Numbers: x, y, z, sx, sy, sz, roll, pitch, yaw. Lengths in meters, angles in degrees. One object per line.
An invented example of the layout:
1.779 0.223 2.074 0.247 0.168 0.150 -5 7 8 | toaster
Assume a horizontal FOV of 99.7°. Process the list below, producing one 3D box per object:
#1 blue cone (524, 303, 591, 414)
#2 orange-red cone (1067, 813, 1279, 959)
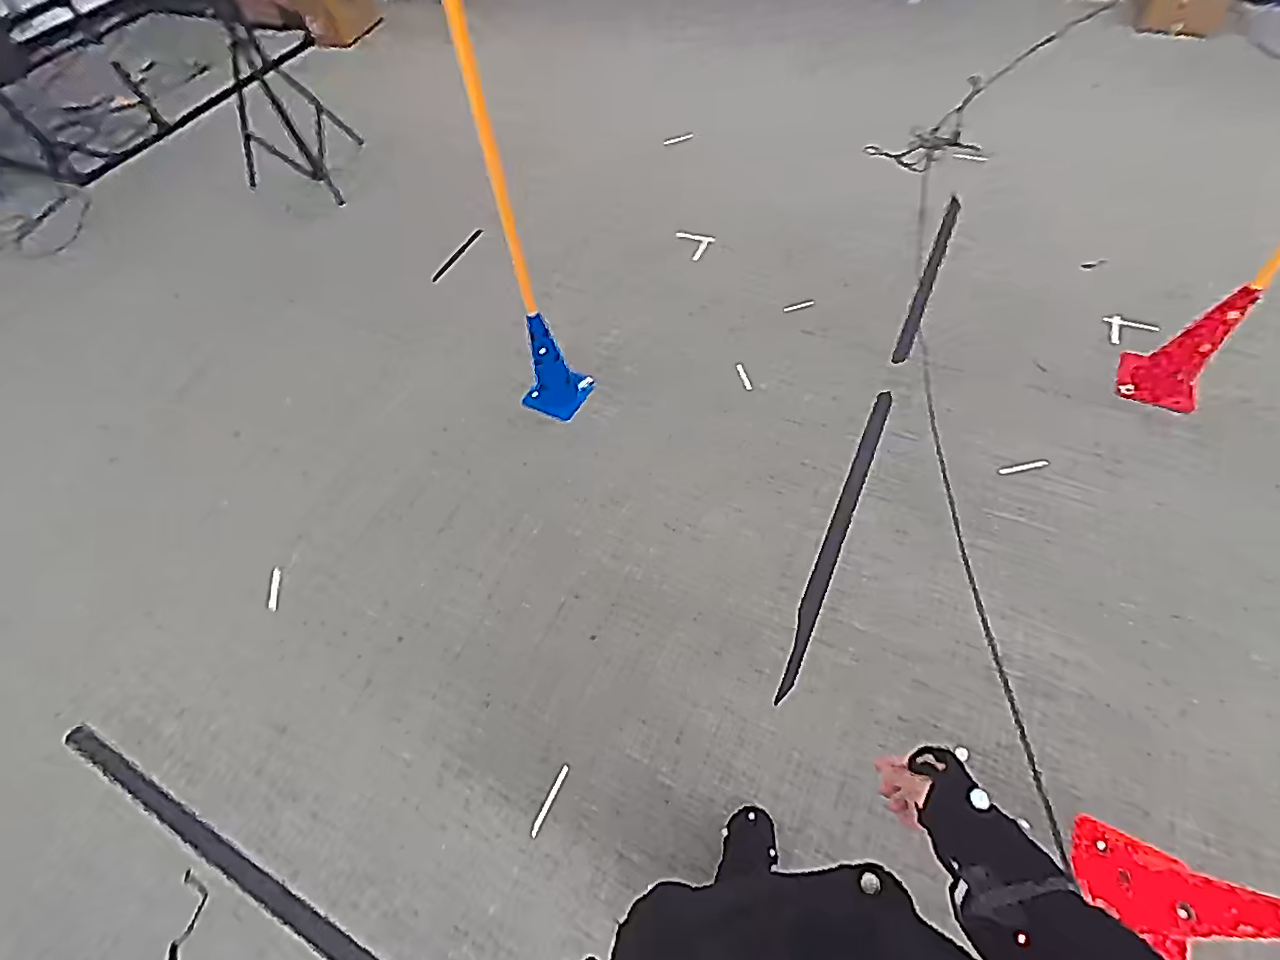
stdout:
-0.301 -0.400 1.732 0.193 0.380 0.192 24 63 19 | blue cone
0.926 0.695 0.892 0.198 0.360 0.199 23 64 20 | orange-red cone
